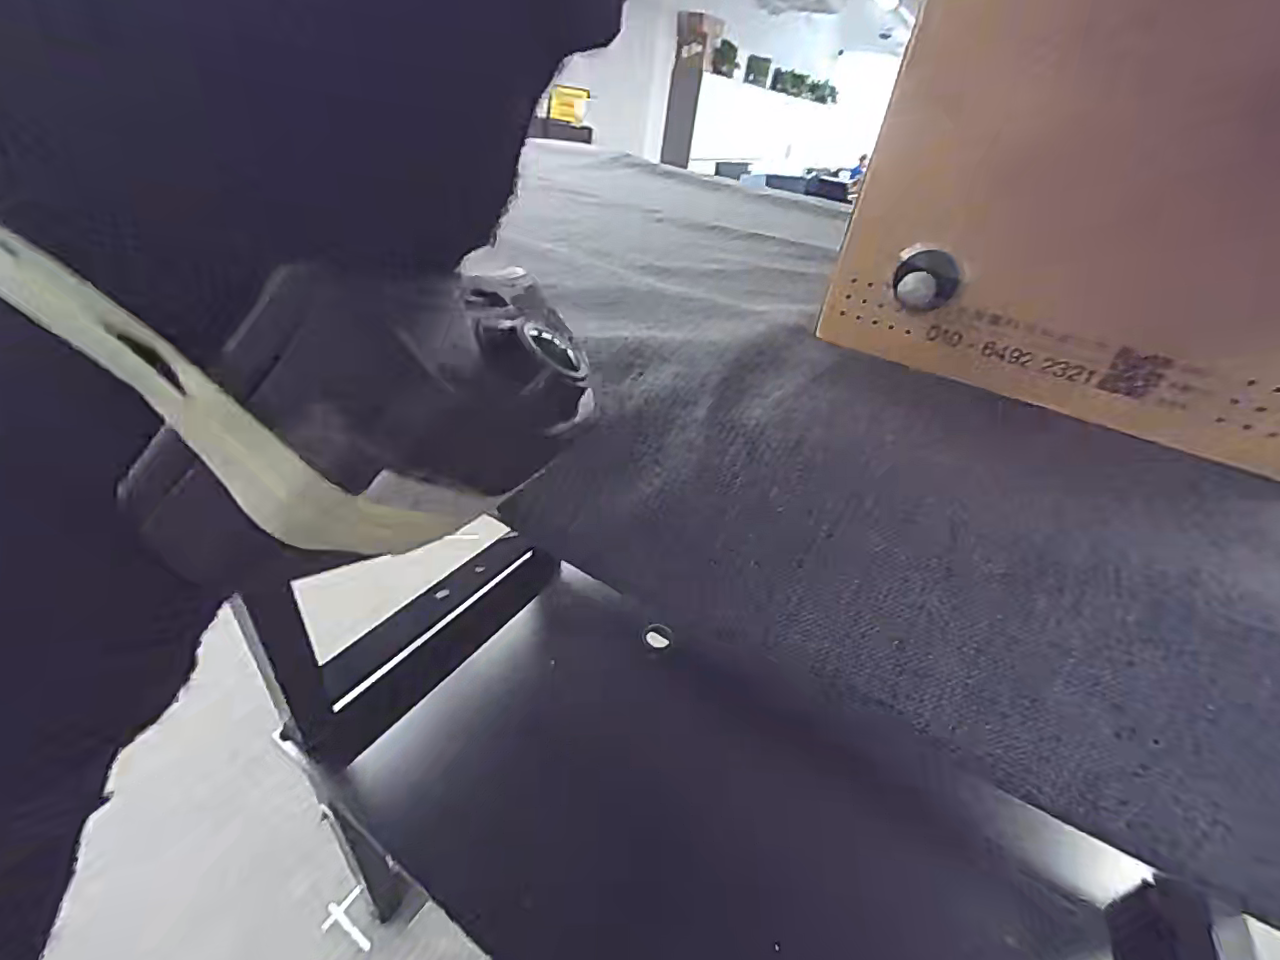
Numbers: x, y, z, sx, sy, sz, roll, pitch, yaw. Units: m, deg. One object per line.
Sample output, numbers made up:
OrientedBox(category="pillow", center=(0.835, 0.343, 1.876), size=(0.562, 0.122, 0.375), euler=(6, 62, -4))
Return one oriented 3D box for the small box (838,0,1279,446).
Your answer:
OrientedBox(category="small box", center=(0.196, -0.134, 0.211), size=(0.168, 0.176, 0.179), euler=(25, 36, 21))
